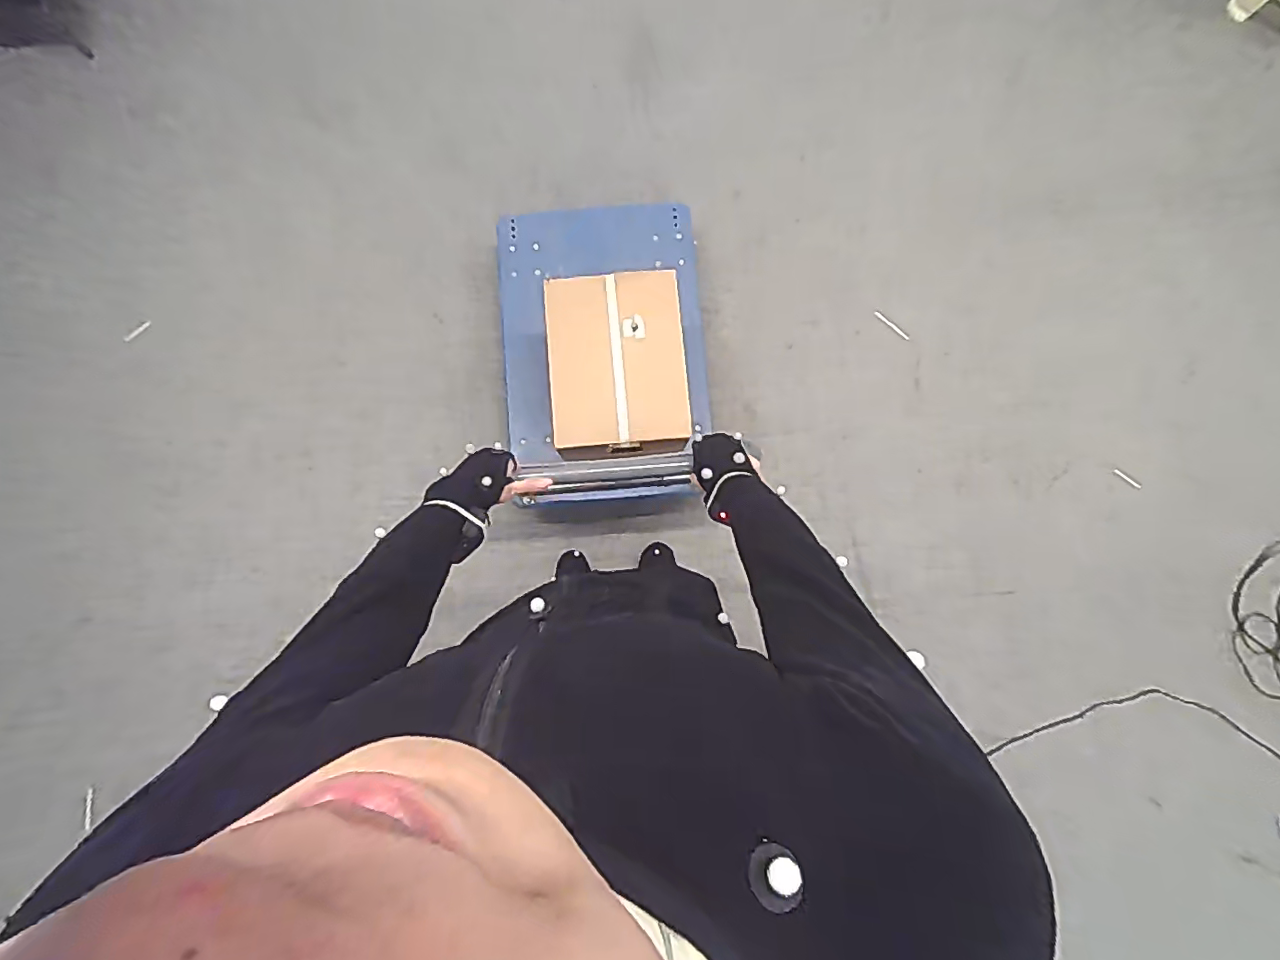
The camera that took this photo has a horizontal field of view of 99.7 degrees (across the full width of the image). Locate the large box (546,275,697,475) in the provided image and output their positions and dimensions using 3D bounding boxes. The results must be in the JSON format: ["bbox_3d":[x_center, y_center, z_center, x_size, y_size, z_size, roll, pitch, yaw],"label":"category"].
[{"bbox_3d":[-0.046,-0.245,1.370,0.320,0.320,0.408,-5,82,-2],"label":"large box"}]
